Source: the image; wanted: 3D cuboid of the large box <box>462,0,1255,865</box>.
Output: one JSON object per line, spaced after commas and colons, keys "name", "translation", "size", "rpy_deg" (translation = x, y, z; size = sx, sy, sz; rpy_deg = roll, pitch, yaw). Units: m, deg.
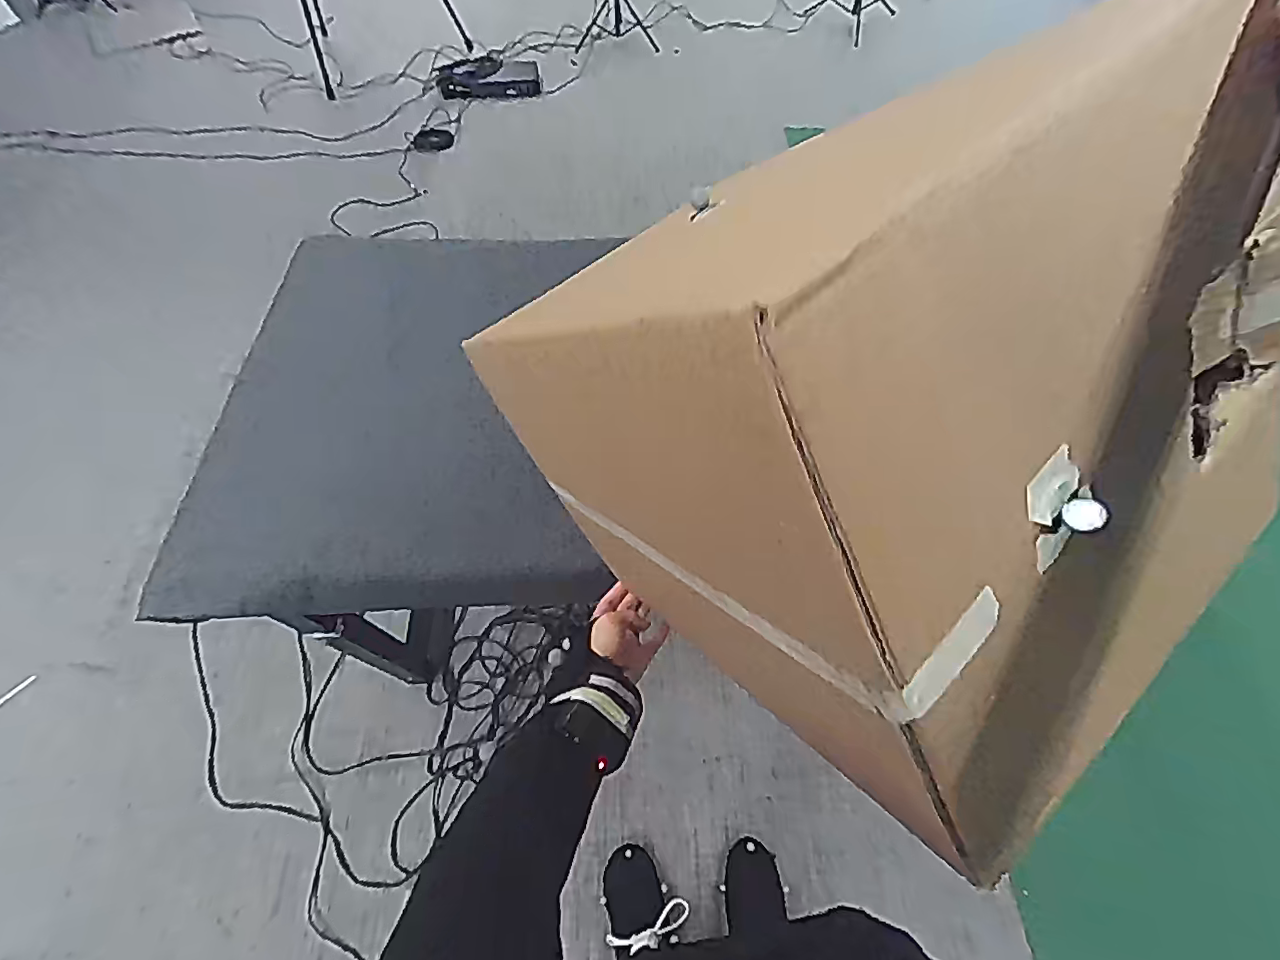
{"name": "large box", "translation": [0.117, -0.042, 0.412], "size": [0.320, 0.320, 0.408], "rpy_deg": [-39, 27, -17]}
